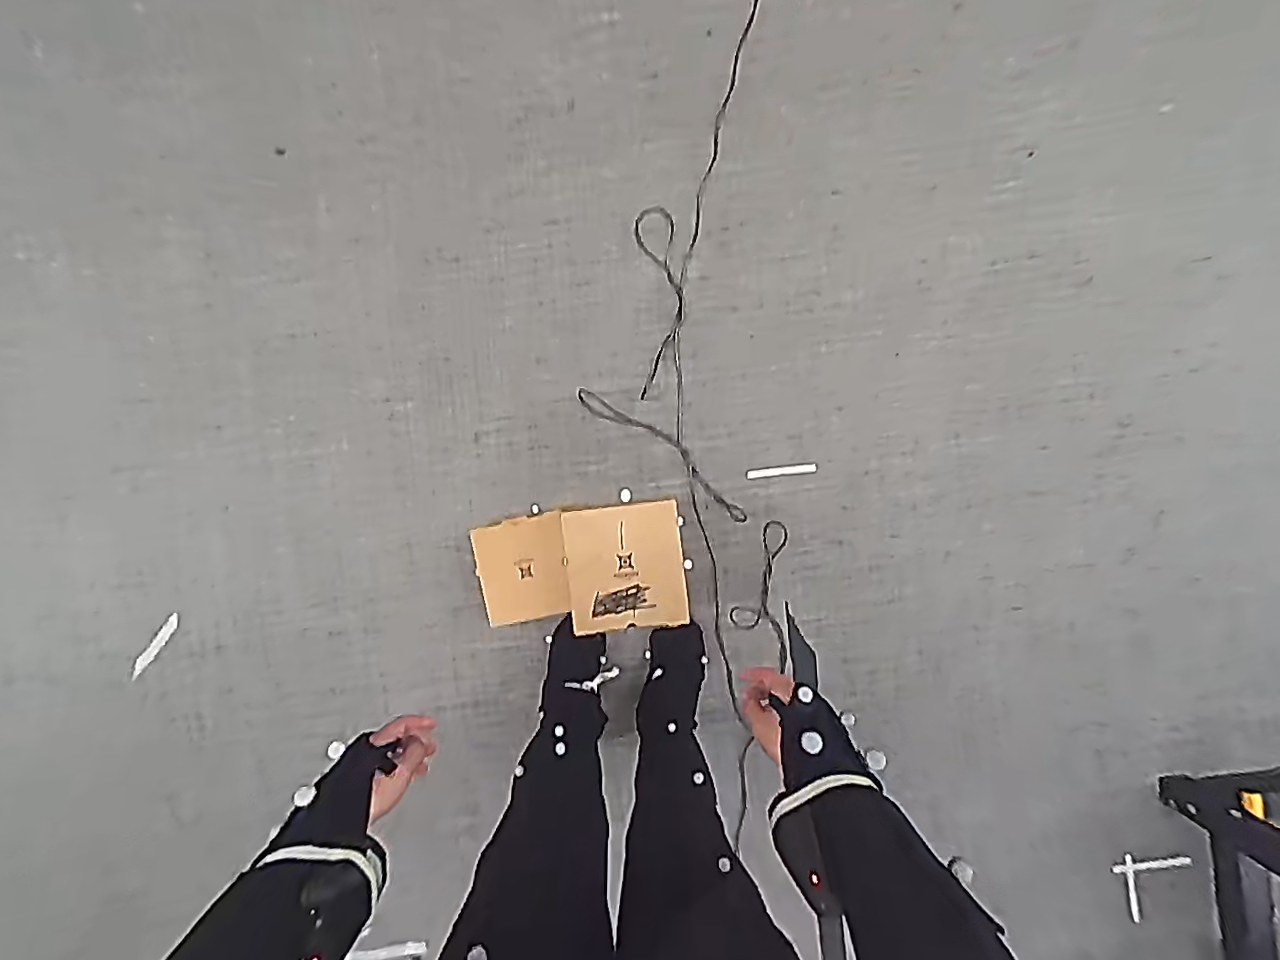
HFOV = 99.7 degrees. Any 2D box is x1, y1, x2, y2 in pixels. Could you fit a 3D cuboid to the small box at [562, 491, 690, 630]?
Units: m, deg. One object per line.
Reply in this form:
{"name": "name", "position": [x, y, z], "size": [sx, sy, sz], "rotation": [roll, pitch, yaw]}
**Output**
{"name": "small box", "position": [-0.017, 0.114, 0.828], "size": [0.168, 0.176, 0.179], "rotation": [-7, 90, 1]}
